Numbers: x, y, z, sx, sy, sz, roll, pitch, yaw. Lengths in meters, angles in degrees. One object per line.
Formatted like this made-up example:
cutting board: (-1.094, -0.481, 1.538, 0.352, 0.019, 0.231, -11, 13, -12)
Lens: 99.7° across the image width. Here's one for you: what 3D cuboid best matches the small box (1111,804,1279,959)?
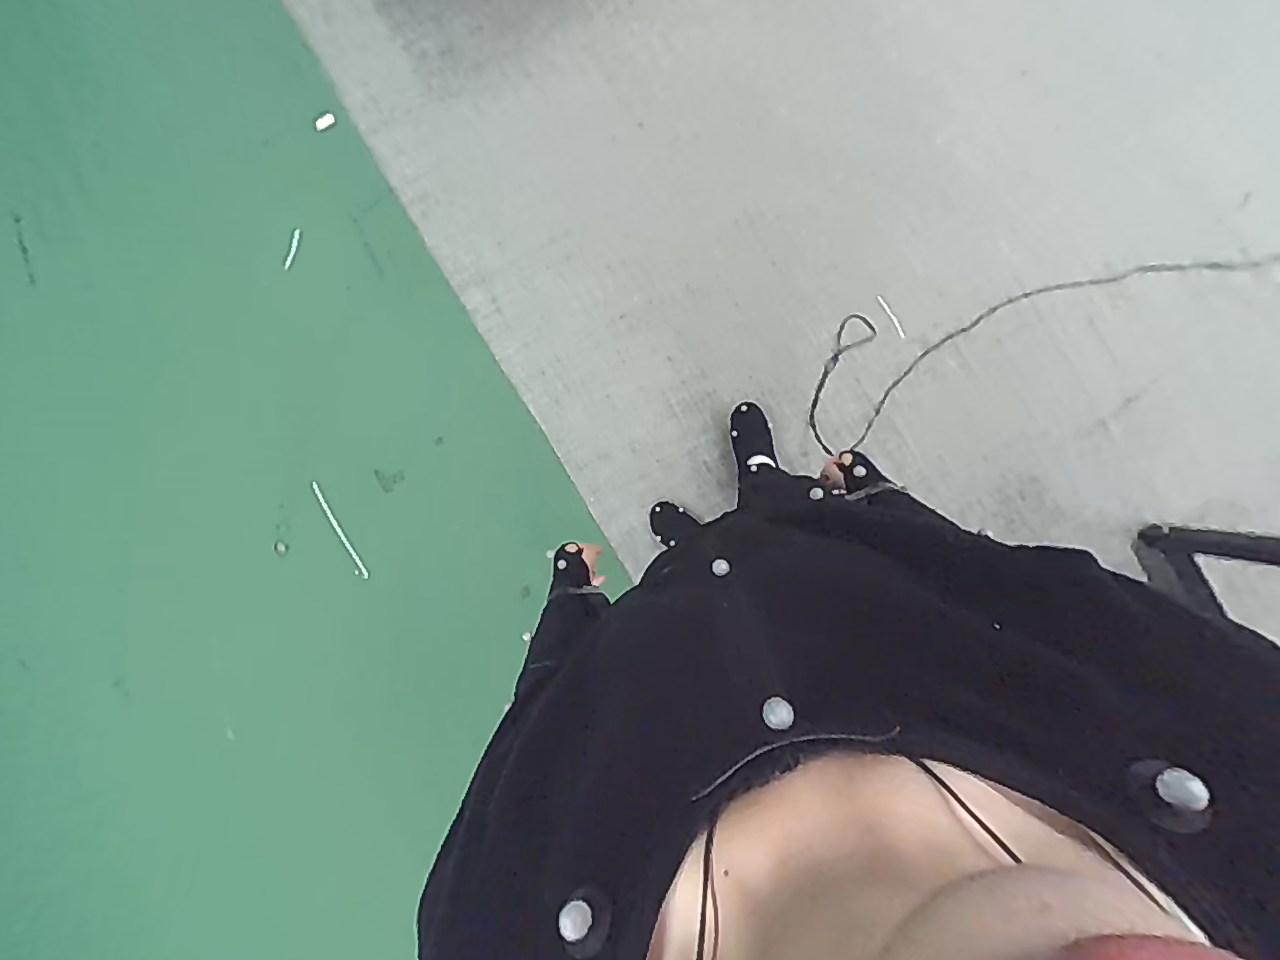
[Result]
small box: (0.771, 0.564, 0.680, 0.168, 0.176, 0.179, -37, 90, 2)
